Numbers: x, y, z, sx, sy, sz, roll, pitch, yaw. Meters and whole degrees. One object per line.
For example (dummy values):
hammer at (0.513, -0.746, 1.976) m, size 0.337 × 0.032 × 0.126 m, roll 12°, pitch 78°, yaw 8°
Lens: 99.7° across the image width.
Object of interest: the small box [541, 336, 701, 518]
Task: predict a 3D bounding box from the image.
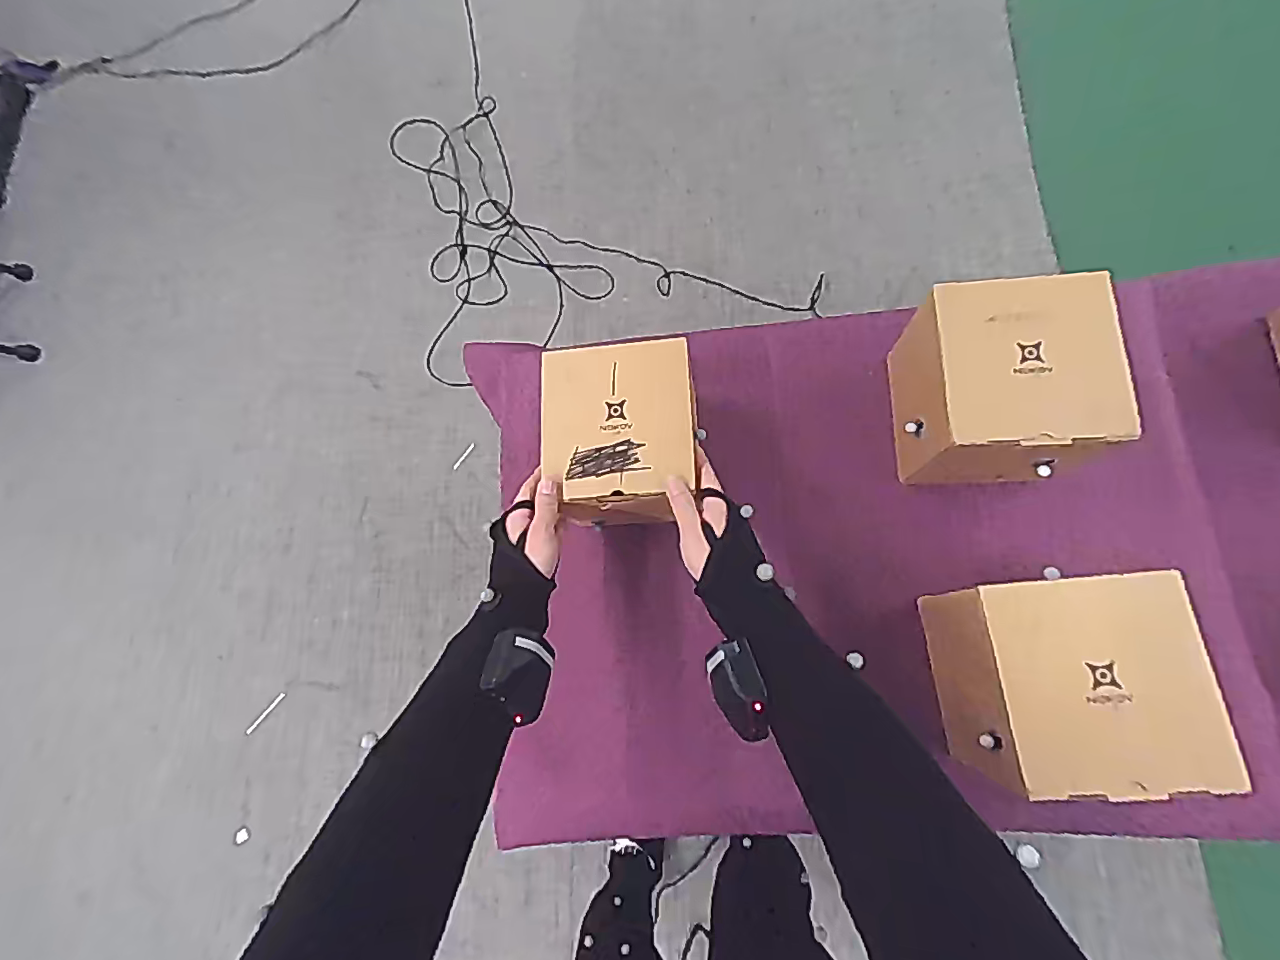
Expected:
small box at (-0.014, -0.051, 0.657) m, size 0.168 × 0.176 × 0.179 m, roll -4°, pitch 76°, yaw 8°

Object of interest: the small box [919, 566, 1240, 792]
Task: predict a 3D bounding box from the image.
small box at (0.399, 0.186, 0.534) m, size 0.168 × 0.176 × 0.179 m, roll -6°, pitch 75°, yaw 7°

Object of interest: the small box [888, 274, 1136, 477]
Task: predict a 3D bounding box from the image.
small box at (0.392, -0.102, 0.606) m, size 0.168 × 0.176 × 0.179 m, roll -1°, pitch 76°, yaw 8°
